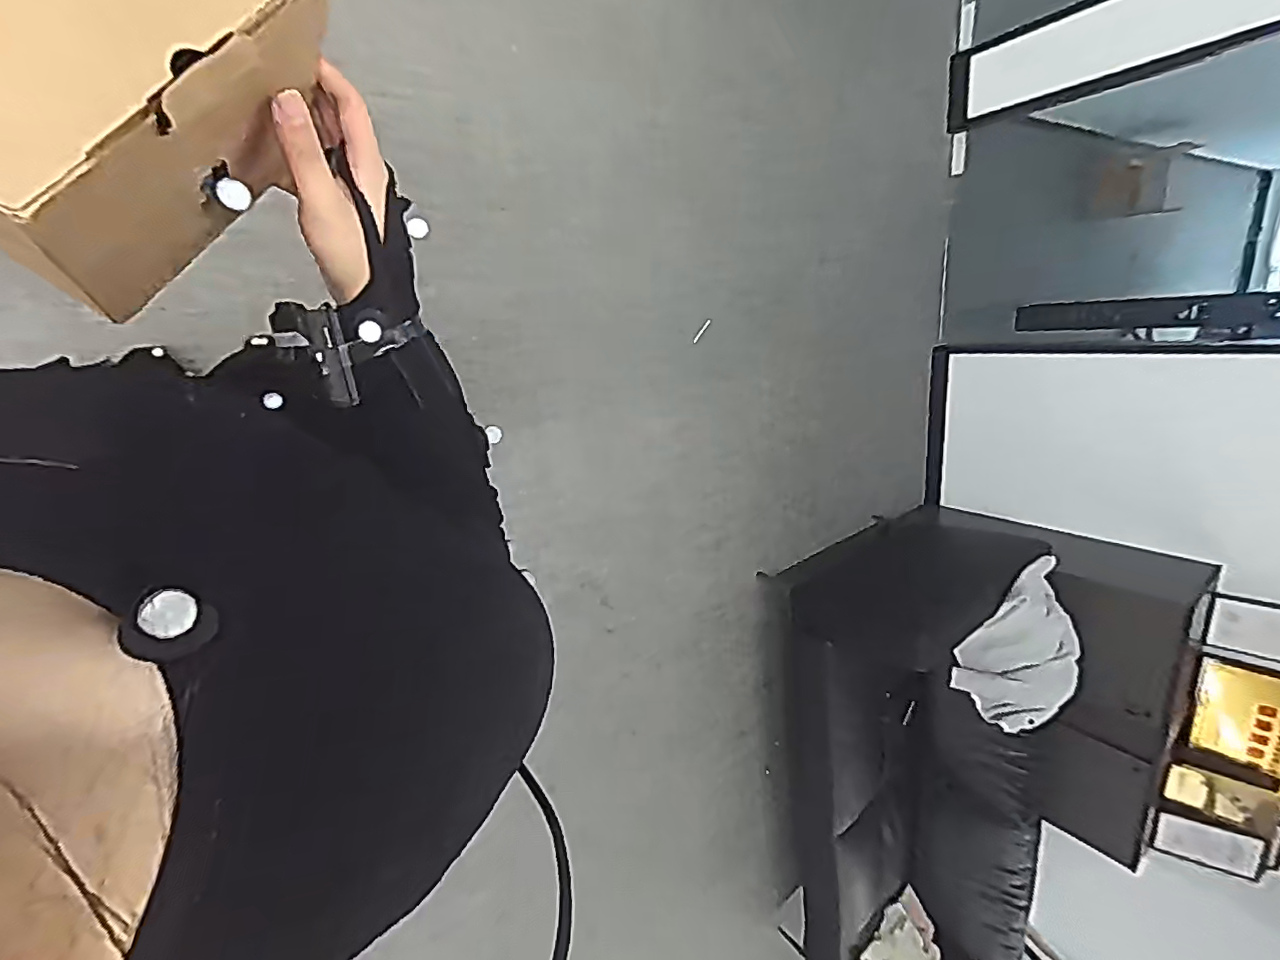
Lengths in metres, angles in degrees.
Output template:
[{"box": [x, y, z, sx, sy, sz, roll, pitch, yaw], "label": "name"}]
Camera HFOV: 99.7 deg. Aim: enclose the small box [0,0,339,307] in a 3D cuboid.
[{"box": [-0.273, -0.198, 0.236, 0.179, 0.176, 0.168, 42, 68, -29], "label": "small box"}]
